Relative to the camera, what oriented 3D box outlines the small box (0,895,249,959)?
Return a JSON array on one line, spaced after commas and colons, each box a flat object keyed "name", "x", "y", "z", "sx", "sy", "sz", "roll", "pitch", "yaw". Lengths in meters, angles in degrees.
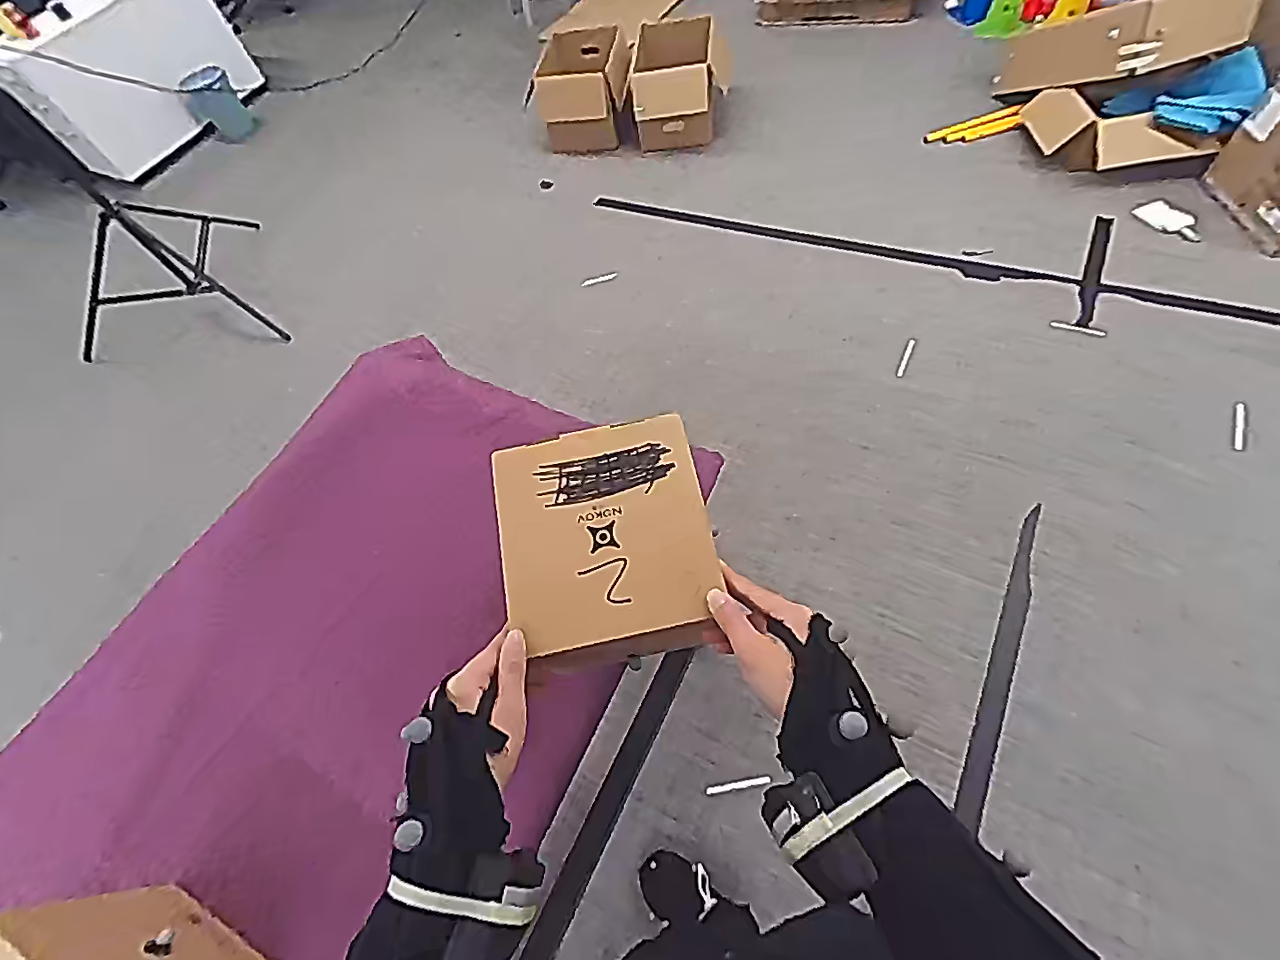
[{"name": "small box", "x": -0.446, "y": 0.464, "z": 0.421, "sx": 0.168, "sy": 0.176, "sz": 0.179, "roll": 16, "pitch": 63, "yaw": 19}]
